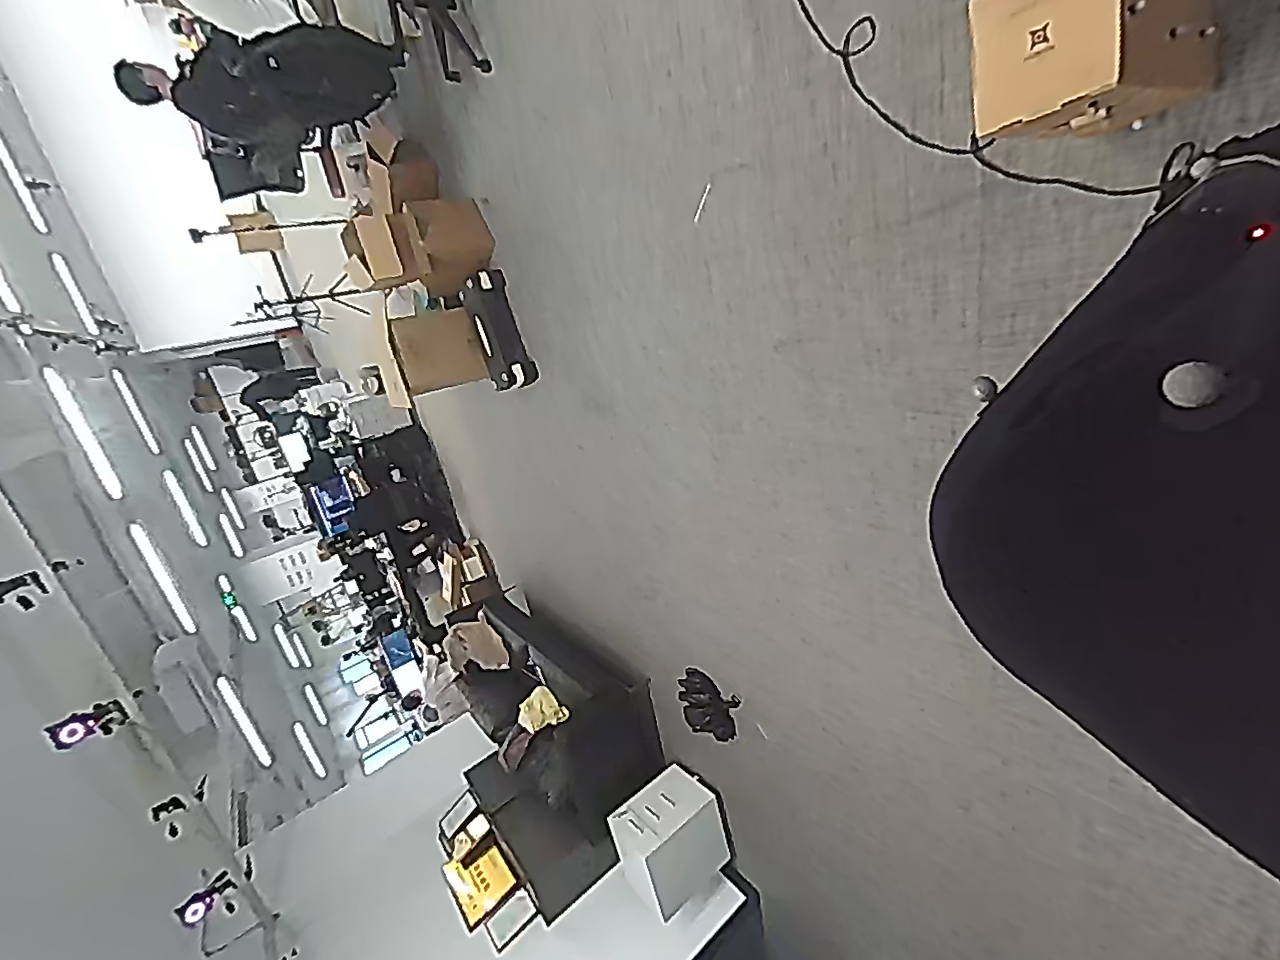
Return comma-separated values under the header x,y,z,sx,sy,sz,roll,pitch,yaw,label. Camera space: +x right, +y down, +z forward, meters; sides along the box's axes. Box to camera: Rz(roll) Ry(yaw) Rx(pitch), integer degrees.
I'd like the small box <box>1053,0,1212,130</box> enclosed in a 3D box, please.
x,y,z,sx,sy,sz,roll,pitch,yaw,label
0.831,-0.723,0.914,0.168,0.176,0.179,4,115,55,small box
